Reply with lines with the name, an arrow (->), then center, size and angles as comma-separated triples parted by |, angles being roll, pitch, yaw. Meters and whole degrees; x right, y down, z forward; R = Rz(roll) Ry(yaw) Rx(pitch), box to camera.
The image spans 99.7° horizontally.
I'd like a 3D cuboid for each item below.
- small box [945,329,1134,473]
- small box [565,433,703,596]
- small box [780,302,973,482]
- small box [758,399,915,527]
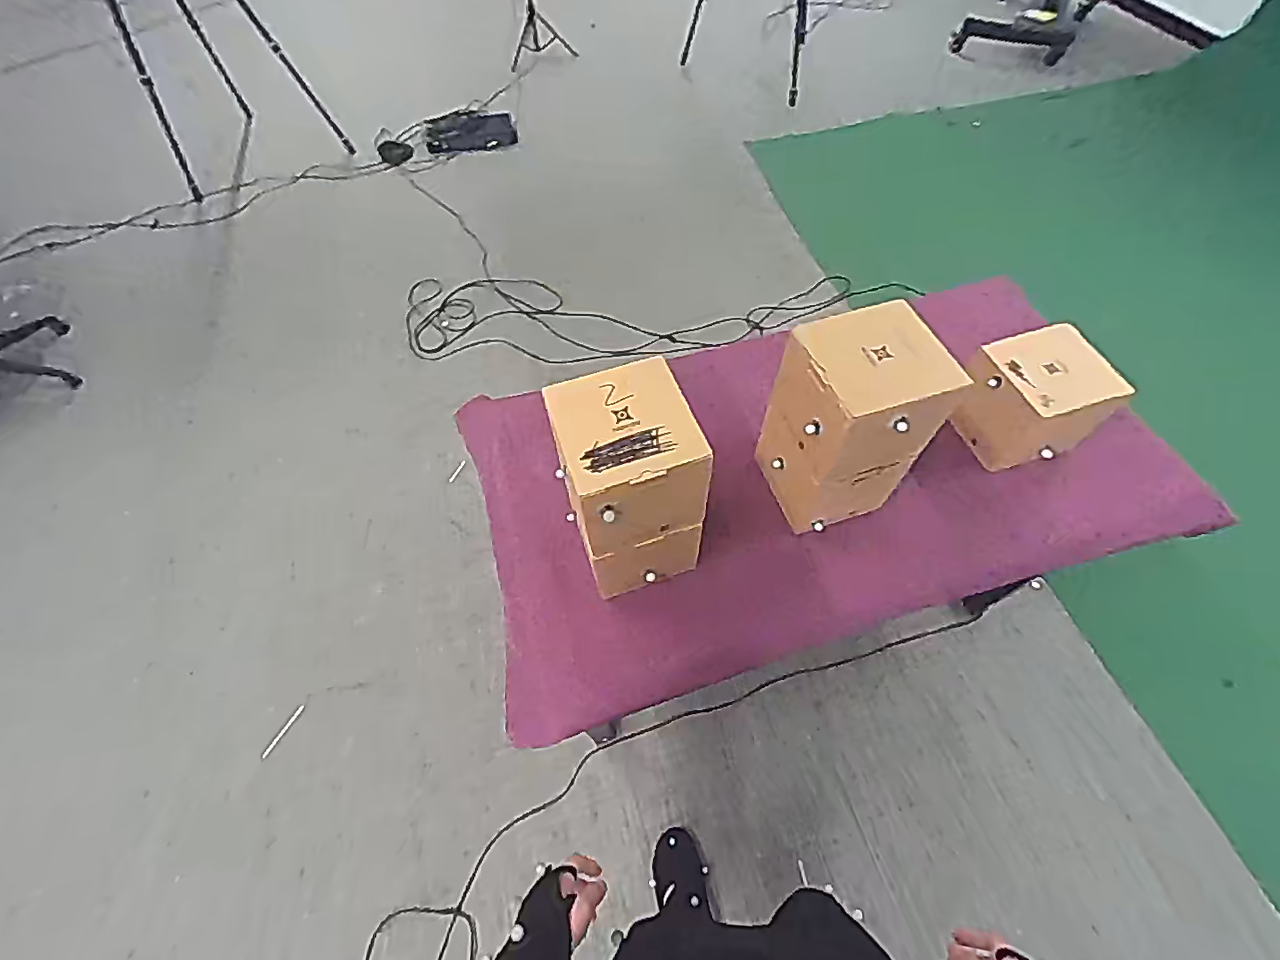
small box -> 0.691, -0.137, 0.962 | 0.179, 0.176, 0.168 | -15, 59, -8
small box -> -0.013, 0.058, 0.858 | 0.168, 0.176, 0.179 | -17, 60, -9
small box -> 0.314, -0.118, 0.769 | 0.179, 0.176, 0.168 | -15, 60, -9
small box -> 0.316, -0.037, 0.910 | 0.168, 0.176, 0.179 | -16, 59, -8
